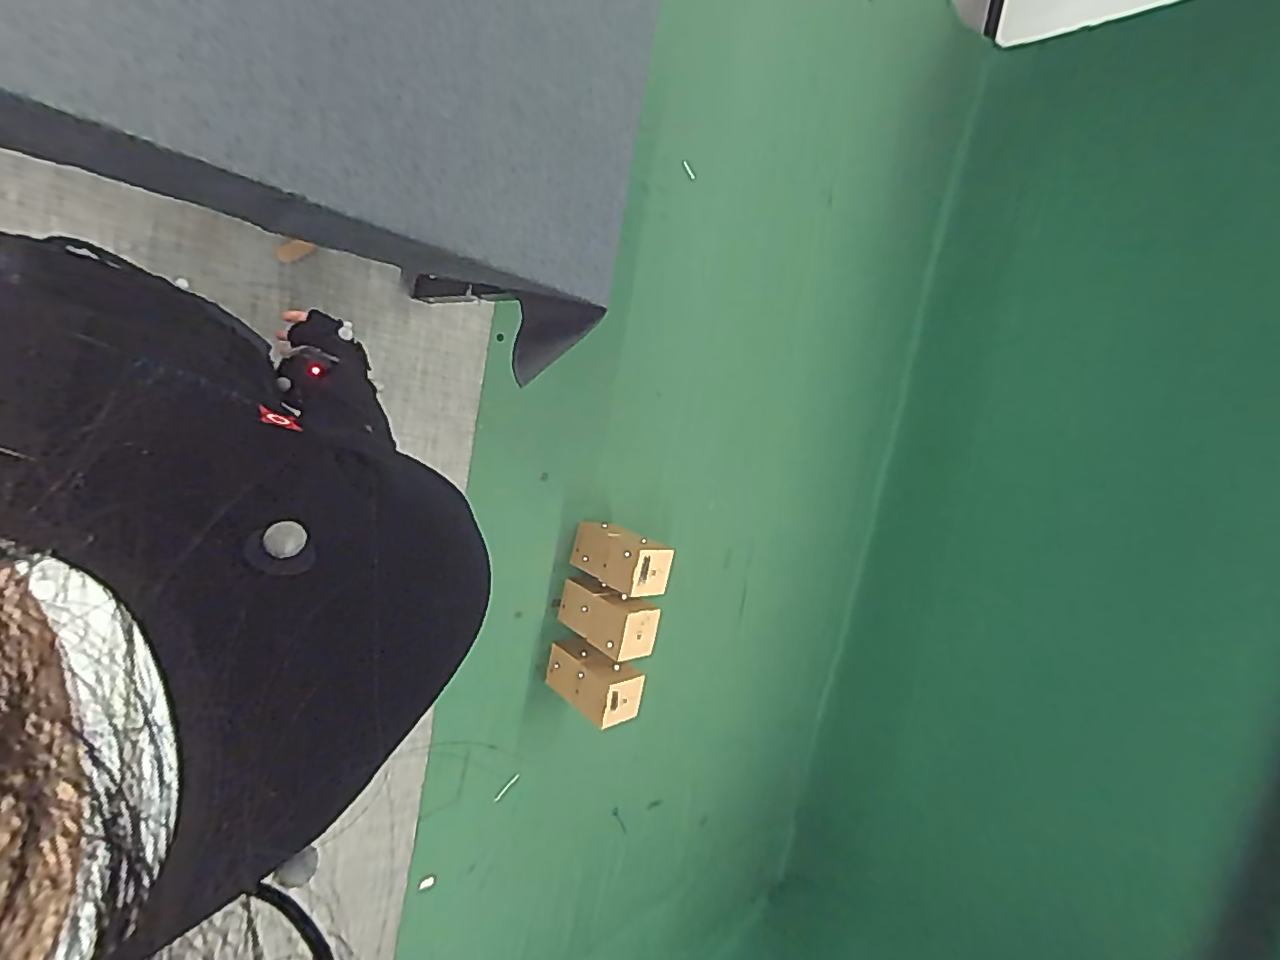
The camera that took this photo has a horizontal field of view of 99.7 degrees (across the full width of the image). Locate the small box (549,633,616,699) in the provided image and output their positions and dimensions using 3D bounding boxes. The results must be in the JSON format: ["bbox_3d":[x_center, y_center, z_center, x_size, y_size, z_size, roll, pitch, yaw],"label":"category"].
[{"bbox_3d":[-0.217,0.699,2.053,0.179,0.176,0.168,4,100,-44],"label":"small box"}]

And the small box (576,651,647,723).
[{"bbox_3d":[-0.106,0.735,1.938,0.179,0.176,0.168,3,101,-45],"label":"small box"}]

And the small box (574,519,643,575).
[{"bbox_3d":[-0.120,0.246,2.008,0.179,0.176,0.168,10,95,-45],"label":"small box"}]
